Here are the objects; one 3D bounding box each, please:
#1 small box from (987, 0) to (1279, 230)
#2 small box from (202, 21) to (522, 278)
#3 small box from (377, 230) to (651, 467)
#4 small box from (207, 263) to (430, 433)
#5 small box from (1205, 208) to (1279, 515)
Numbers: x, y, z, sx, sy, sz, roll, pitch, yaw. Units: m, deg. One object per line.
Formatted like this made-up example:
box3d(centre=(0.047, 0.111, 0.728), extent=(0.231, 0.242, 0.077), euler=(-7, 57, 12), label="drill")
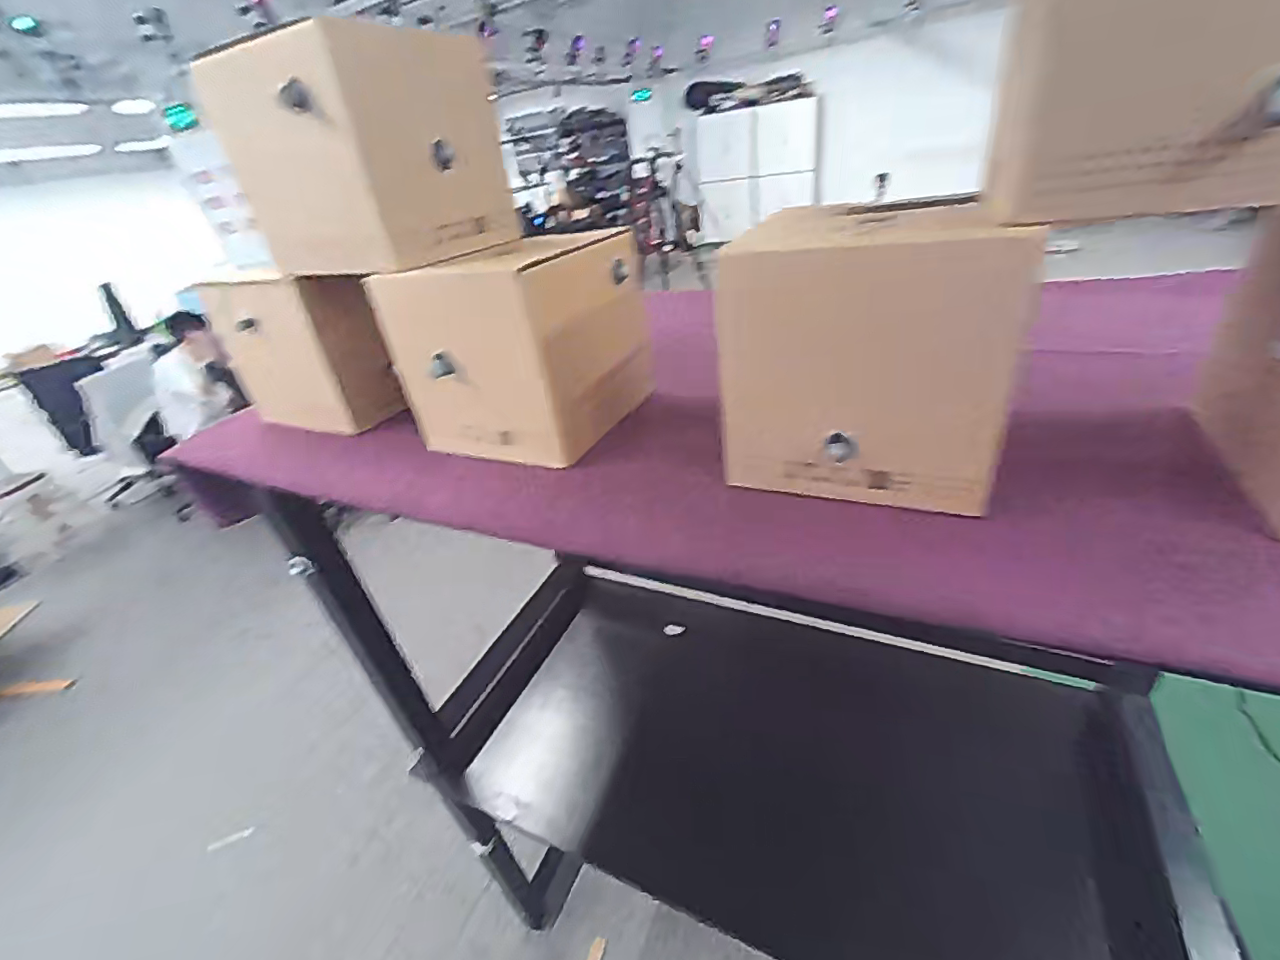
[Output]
box3d(centre=(0.281, -0.222, 0.247), extent=(0.179, 0.176, 0.168), euler=(7, 34, 25), label="small box")
box3d(centre=(-0.234, -0.290, 0.498), extent=(0.179, 0.176, 0.168), euler=(10, 35, 28), label="small box")
box3d(centre=(-0.101, -0.127, 0.517), extent=(0.168, 0.176, 0.179), euler=(8, 34, 28), label="small box")
box3d(centre=(-0.349, -0.168, 0.645), extent=(0.179, 0.176, 0.168), euler=(9, 35, 26), label="small box")
box3d(centre=(0.439, -0.067, 0.266), extent=(0.168, 0.176, 0.179), euler=(8, 34, 28), label="small box")
